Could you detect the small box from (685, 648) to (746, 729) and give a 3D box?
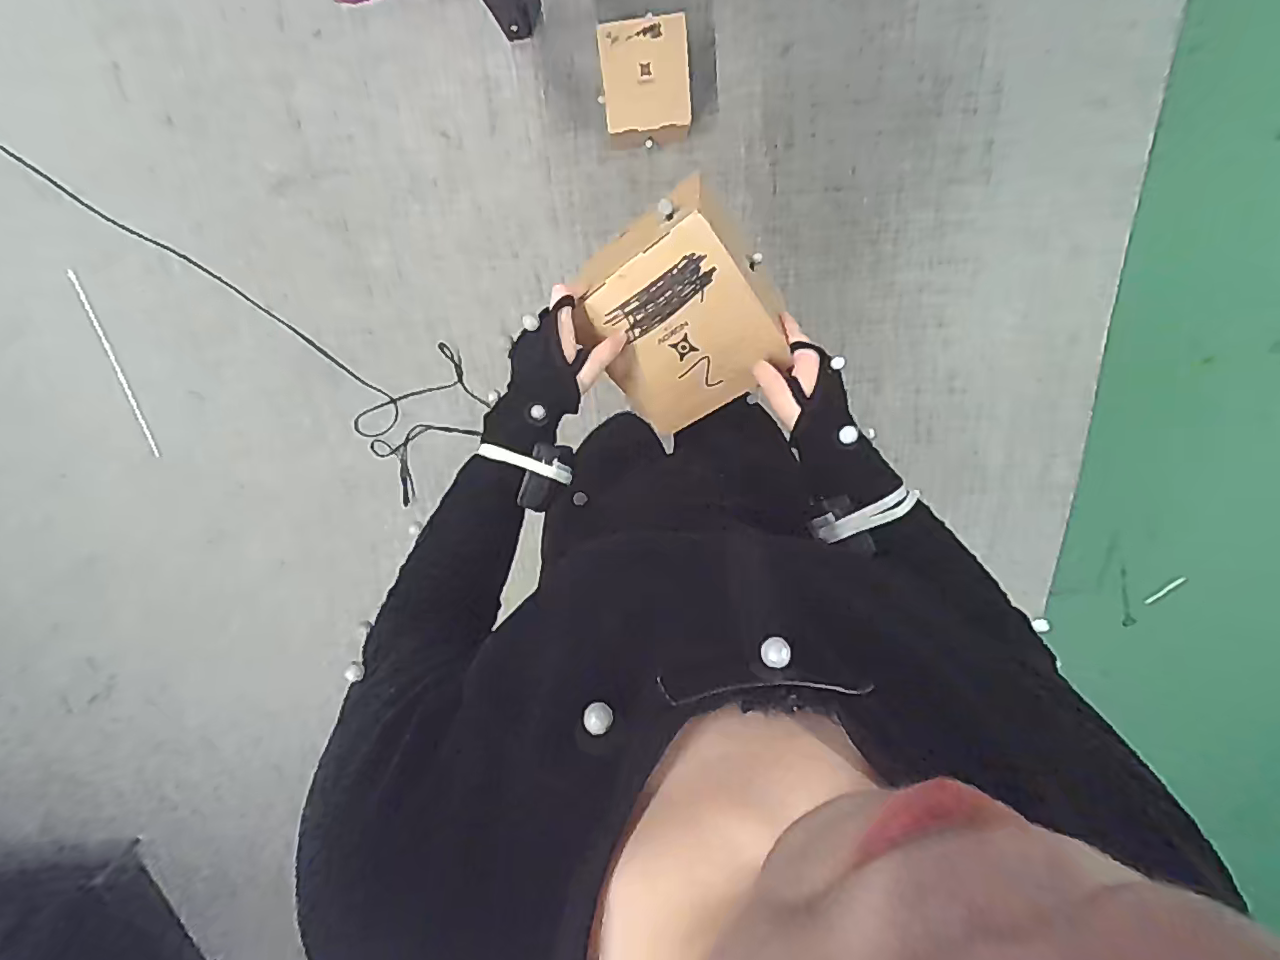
[{"bbox_3d":[0.230,0.635,1.669,0.168,0.176,0.179,-5,112,3],"label":"small box"}]

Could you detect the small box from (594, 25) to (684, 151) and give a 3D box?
[{"bbox_3d":[0.005,-0.784,1.103,0.168,0.176,0.179,-4,113,4],"label":"small box"}]
